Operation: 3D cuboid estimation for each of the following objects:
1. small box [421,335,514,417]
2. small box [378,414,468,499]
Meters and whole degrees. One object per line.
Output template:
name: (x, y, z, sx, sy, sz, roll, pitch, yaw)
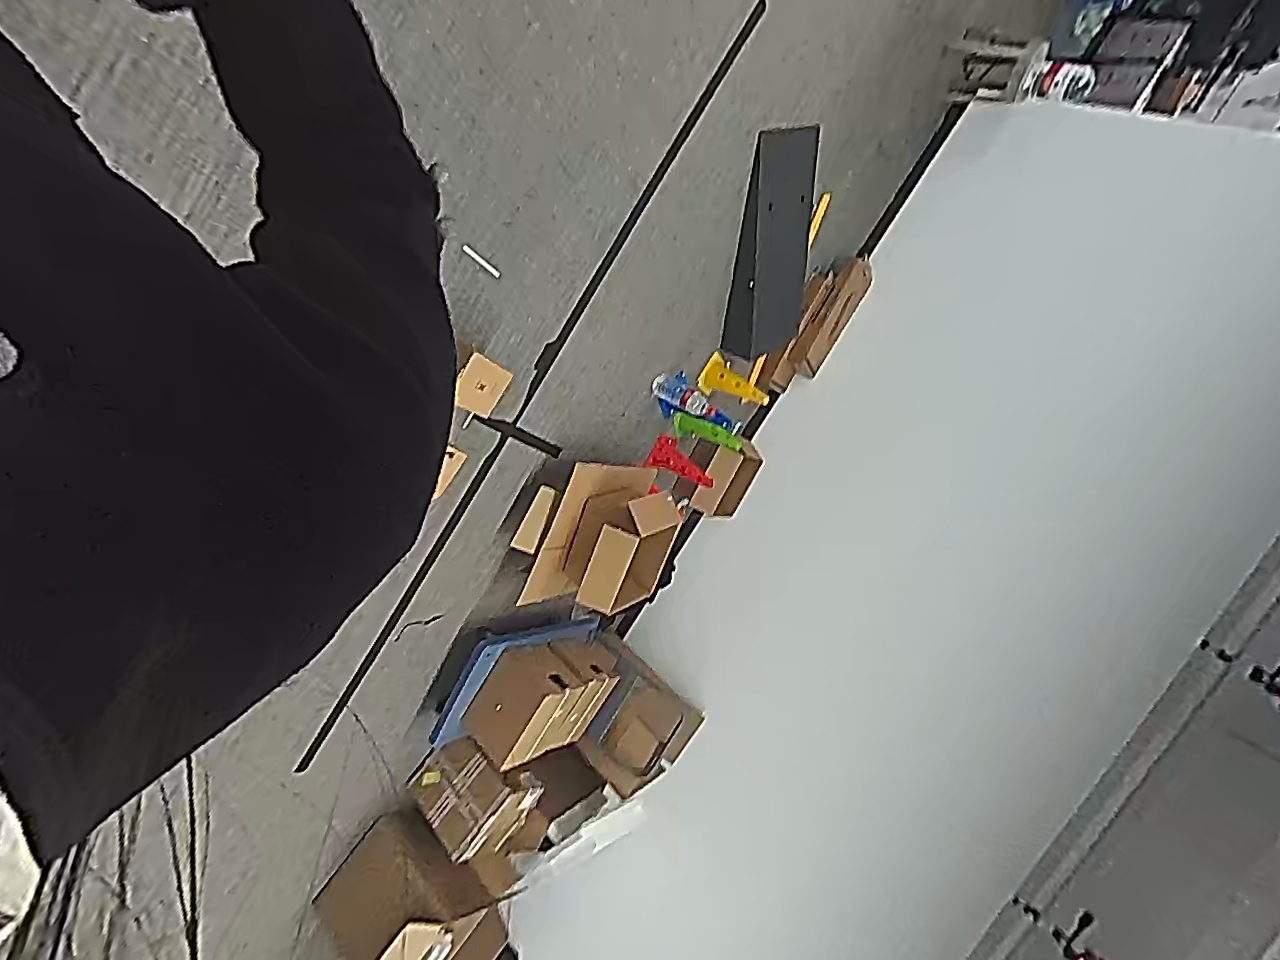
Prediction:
small box: (-0.530, -0.322, 1.652, 0.168, 0.176, 0.179, -57, 152, 5)
small box: (-0.681, -0.073, 1.682, 0.179, 0.176, 0.168, -55, 151, 0)
